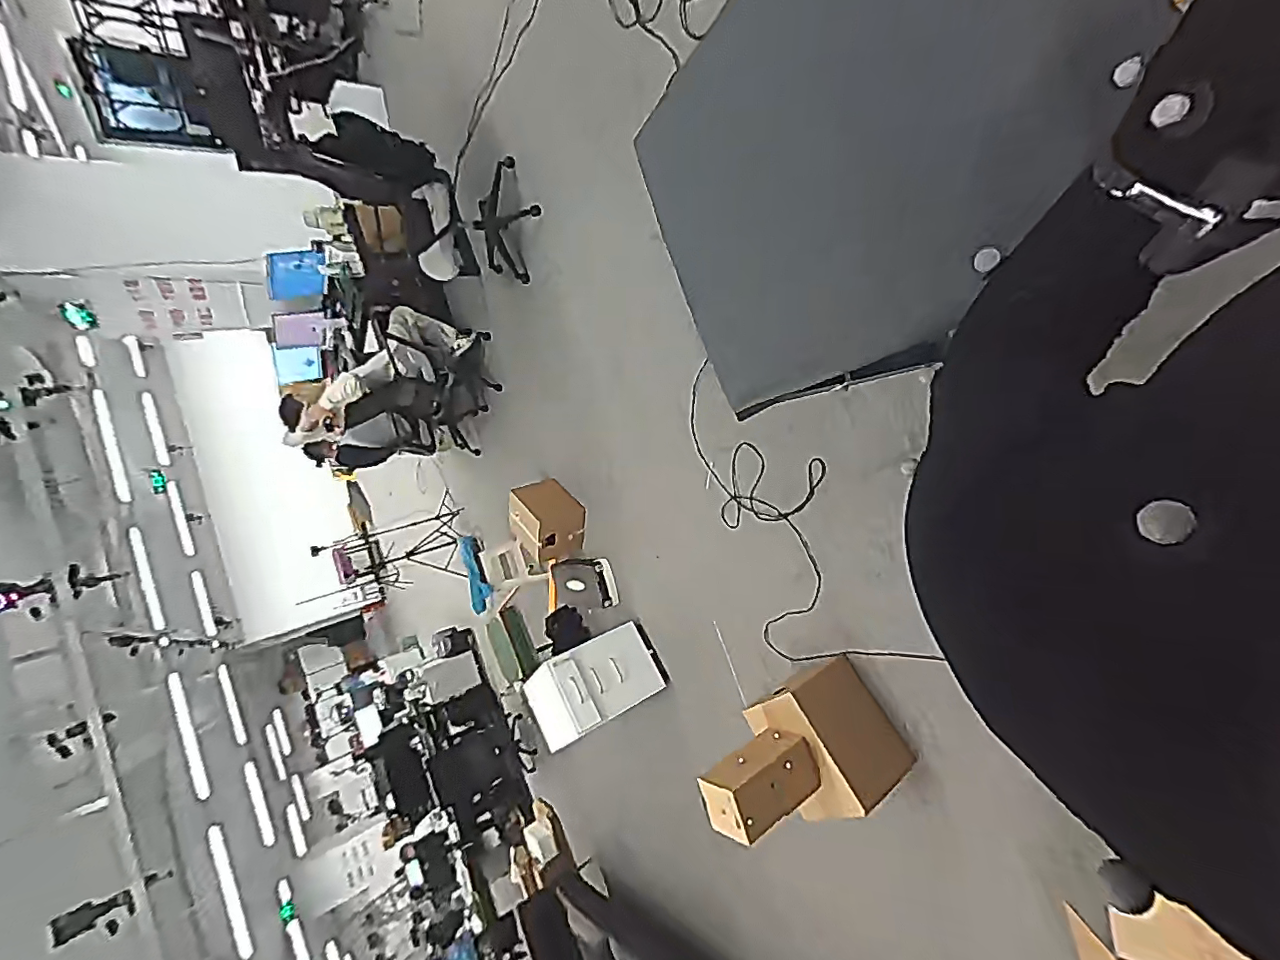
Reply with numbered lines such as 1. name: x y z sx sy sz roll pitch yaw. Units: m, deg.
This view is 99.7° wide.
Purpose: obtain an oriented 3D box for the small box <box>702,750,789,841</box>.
1. small box: 0.330 0.975 1.691 0.179 0.176 0.168 -23 85 58
